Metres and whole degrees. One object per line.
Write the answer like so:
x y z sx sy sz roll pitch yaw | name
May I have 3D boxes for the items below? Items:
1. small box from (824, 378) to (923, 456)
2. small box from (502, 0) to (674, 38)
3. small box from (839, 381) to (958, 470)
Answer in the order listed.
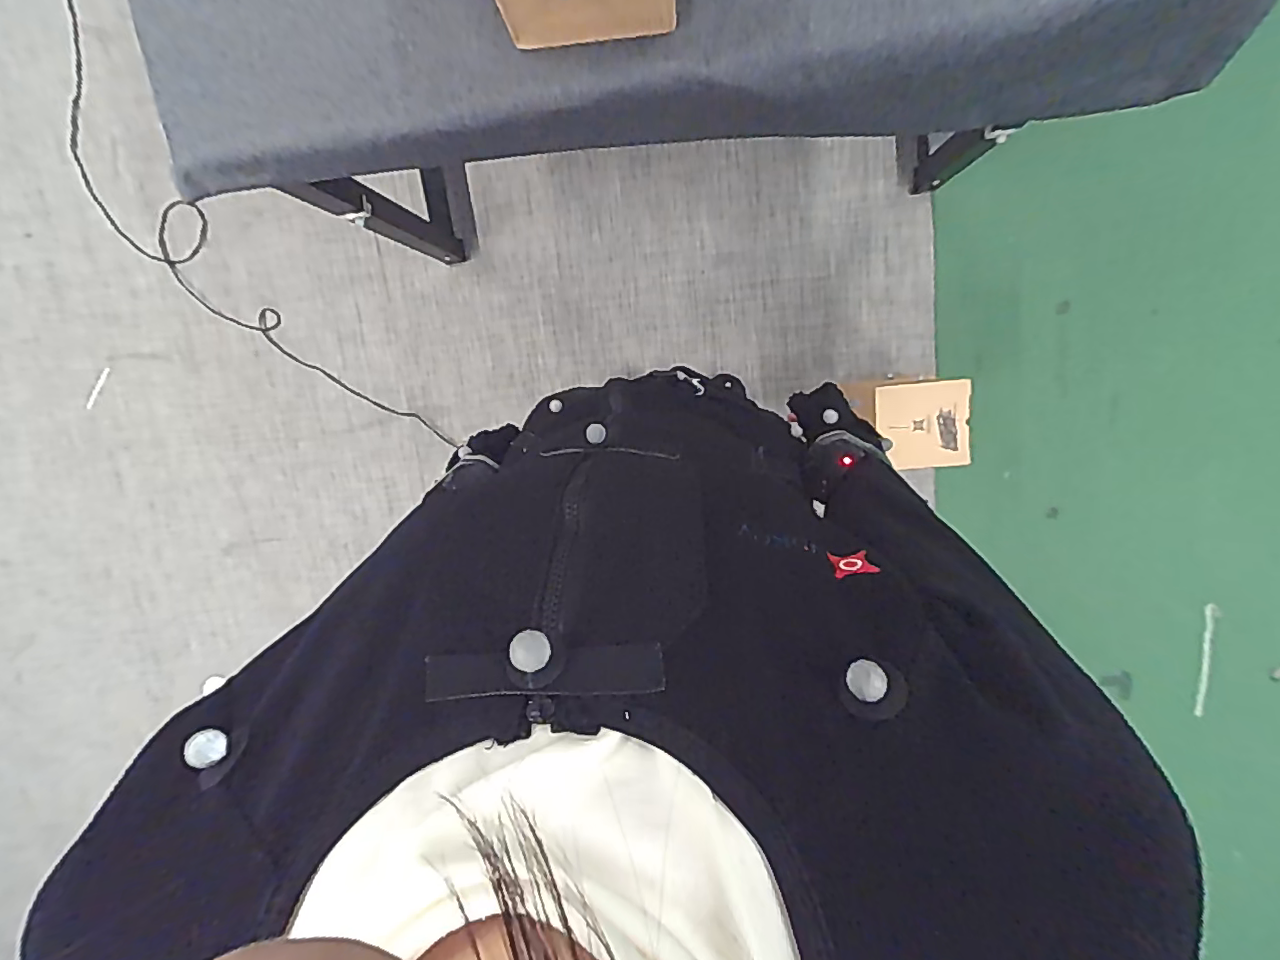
0.550 -0.151 1.282 0.179 0.176 0.168 -6 100 6 | small box
-0.060 -0.549 0.497 0.179 0.176 0.168 -2 100 5 | small box
0.527 -0.118 1.122 0.179 0.176 0.168 -3 100 5 | small box
